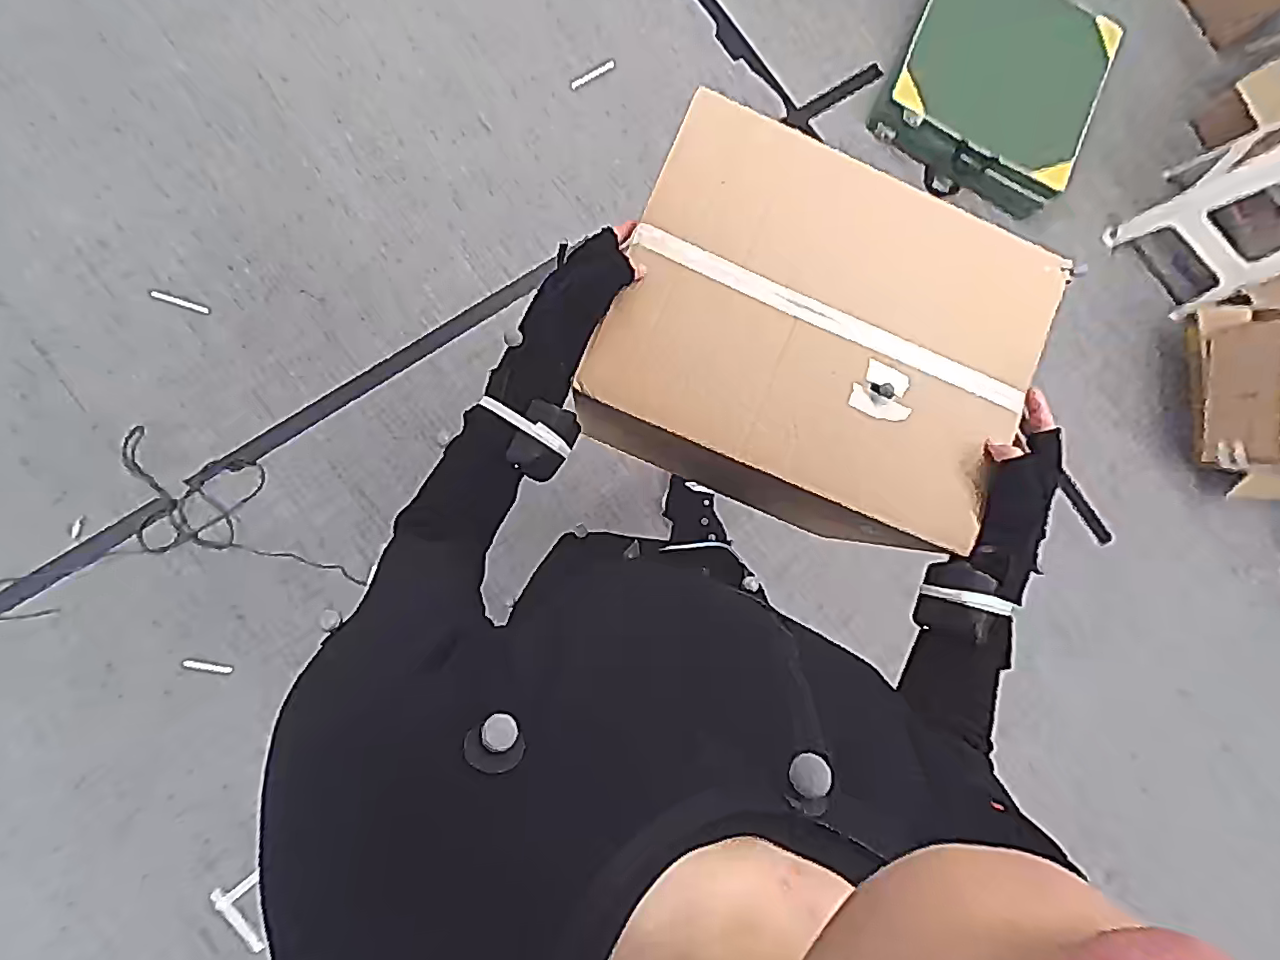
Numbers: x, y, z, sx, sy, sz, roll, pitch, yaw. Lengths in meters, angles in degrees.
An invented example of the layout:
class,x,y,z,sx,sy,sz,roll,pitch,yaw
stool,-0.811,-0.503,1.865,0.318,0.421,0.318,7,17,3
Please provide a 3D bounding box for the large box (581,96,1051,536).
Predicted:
class,x,y,z,sx,sy,sz,roll,pitch,yaw
large box,0.165,-0.152,0.671,0.408,0.320,0.320,23,87,-5
